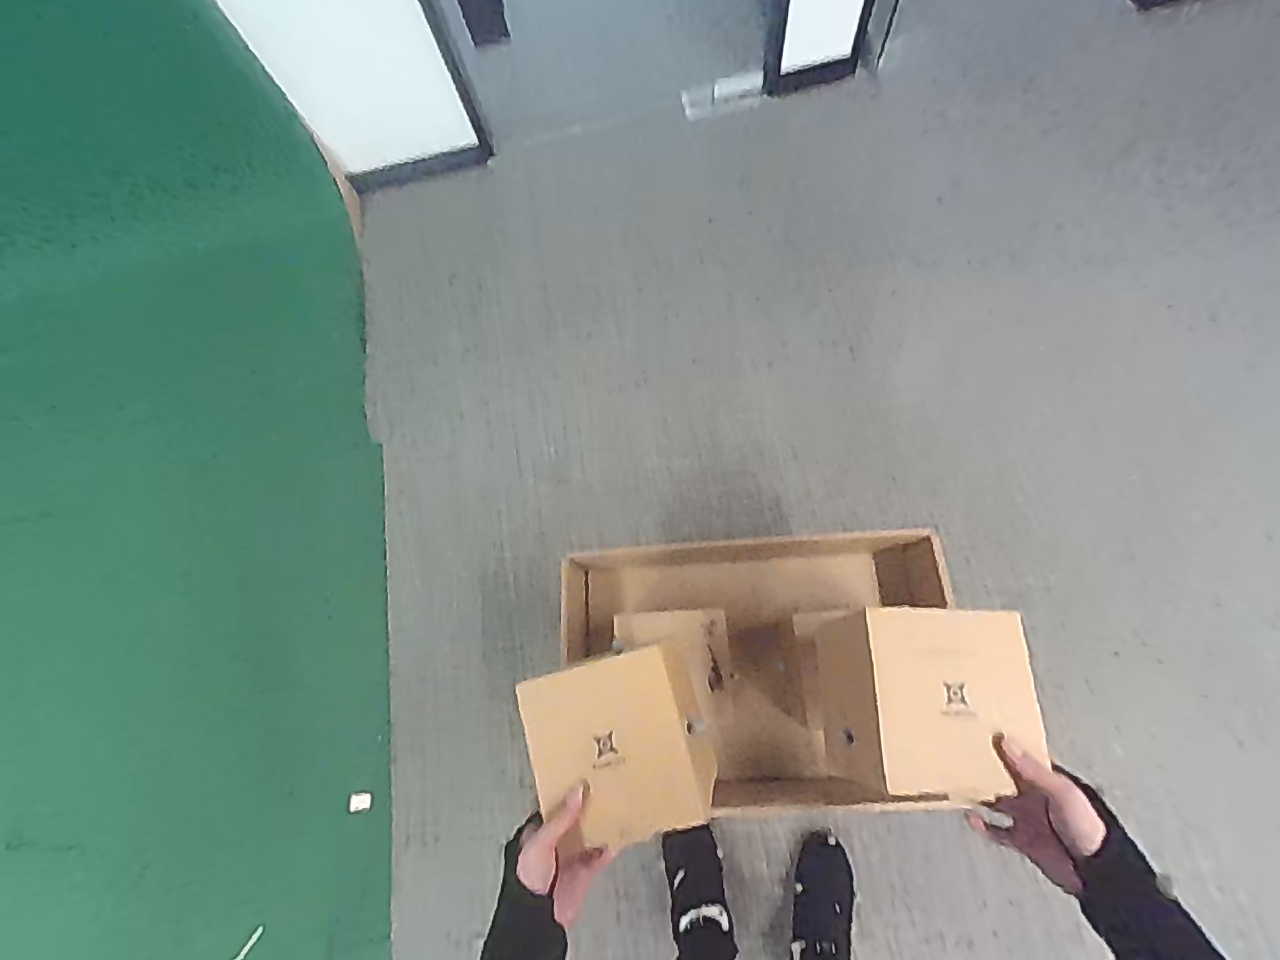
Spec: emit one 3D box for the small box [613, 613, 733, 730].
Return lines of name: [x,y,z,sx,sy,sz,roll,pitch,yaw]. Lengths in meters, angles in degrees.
small box: [0.057,0.310,0.880,0.179,0.176,0.168,-4,71,6]

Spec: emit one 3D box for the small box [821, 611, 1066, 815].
small box: [0.310,0.247,0.595,0.168,0.176,0.179,3,68,0]

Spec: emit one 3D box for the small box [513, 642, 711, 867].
small box: [-0.023,0.291,0.616,0.168,0.176,0.179,-18,76,6]
